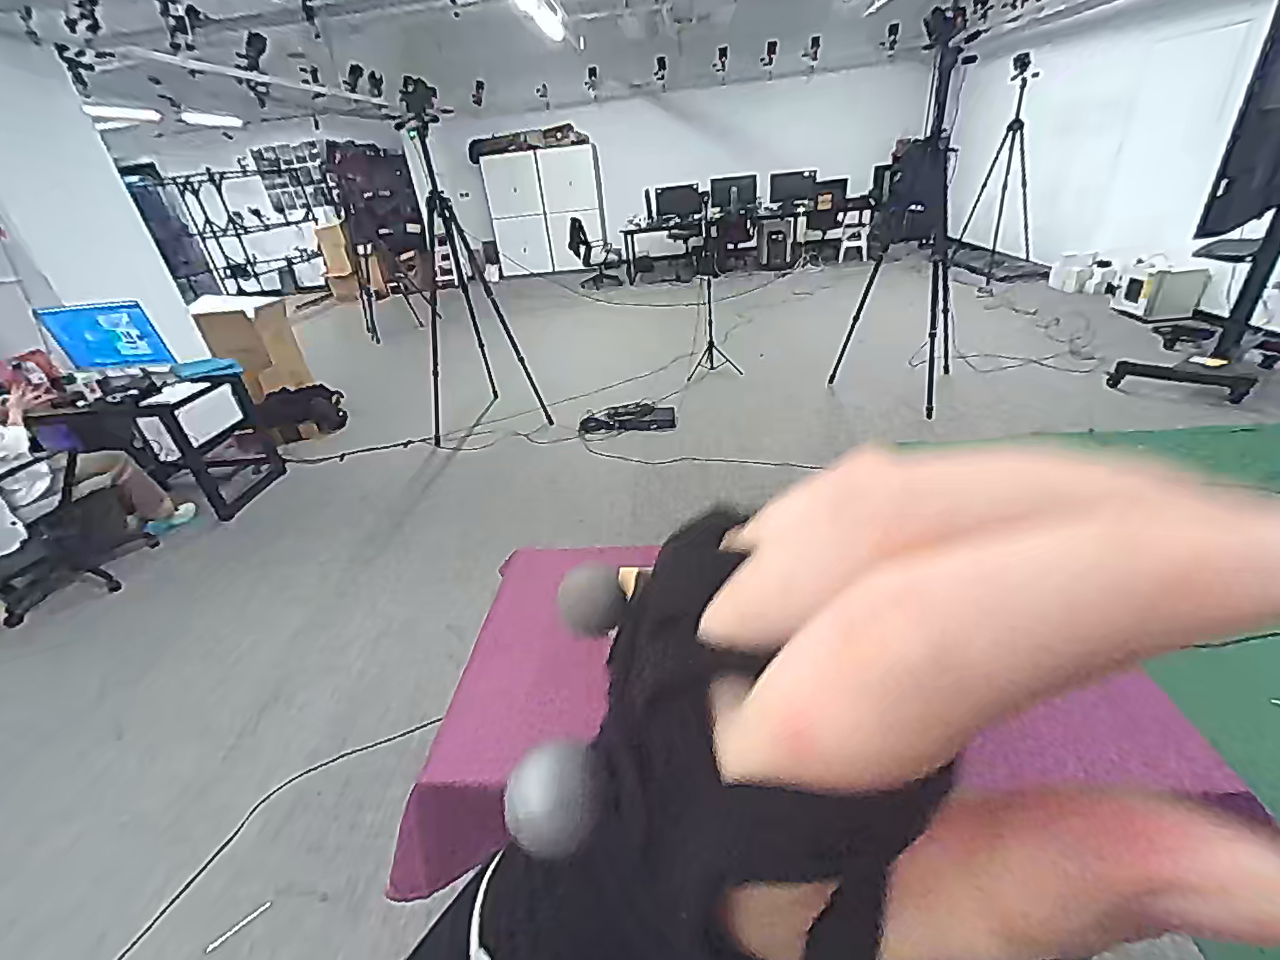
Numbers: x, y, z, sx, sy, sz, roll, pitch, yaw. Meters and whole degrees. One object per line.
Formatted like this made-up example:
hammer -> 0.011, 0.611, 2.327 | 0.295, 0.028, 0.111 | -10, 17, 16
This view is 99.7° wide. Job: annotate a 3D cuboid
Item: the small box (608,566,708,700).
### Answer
small box -> 0.040, 0.282, 1.009 | 0.168, 0.176, 0.179 | -3, 31, 7
